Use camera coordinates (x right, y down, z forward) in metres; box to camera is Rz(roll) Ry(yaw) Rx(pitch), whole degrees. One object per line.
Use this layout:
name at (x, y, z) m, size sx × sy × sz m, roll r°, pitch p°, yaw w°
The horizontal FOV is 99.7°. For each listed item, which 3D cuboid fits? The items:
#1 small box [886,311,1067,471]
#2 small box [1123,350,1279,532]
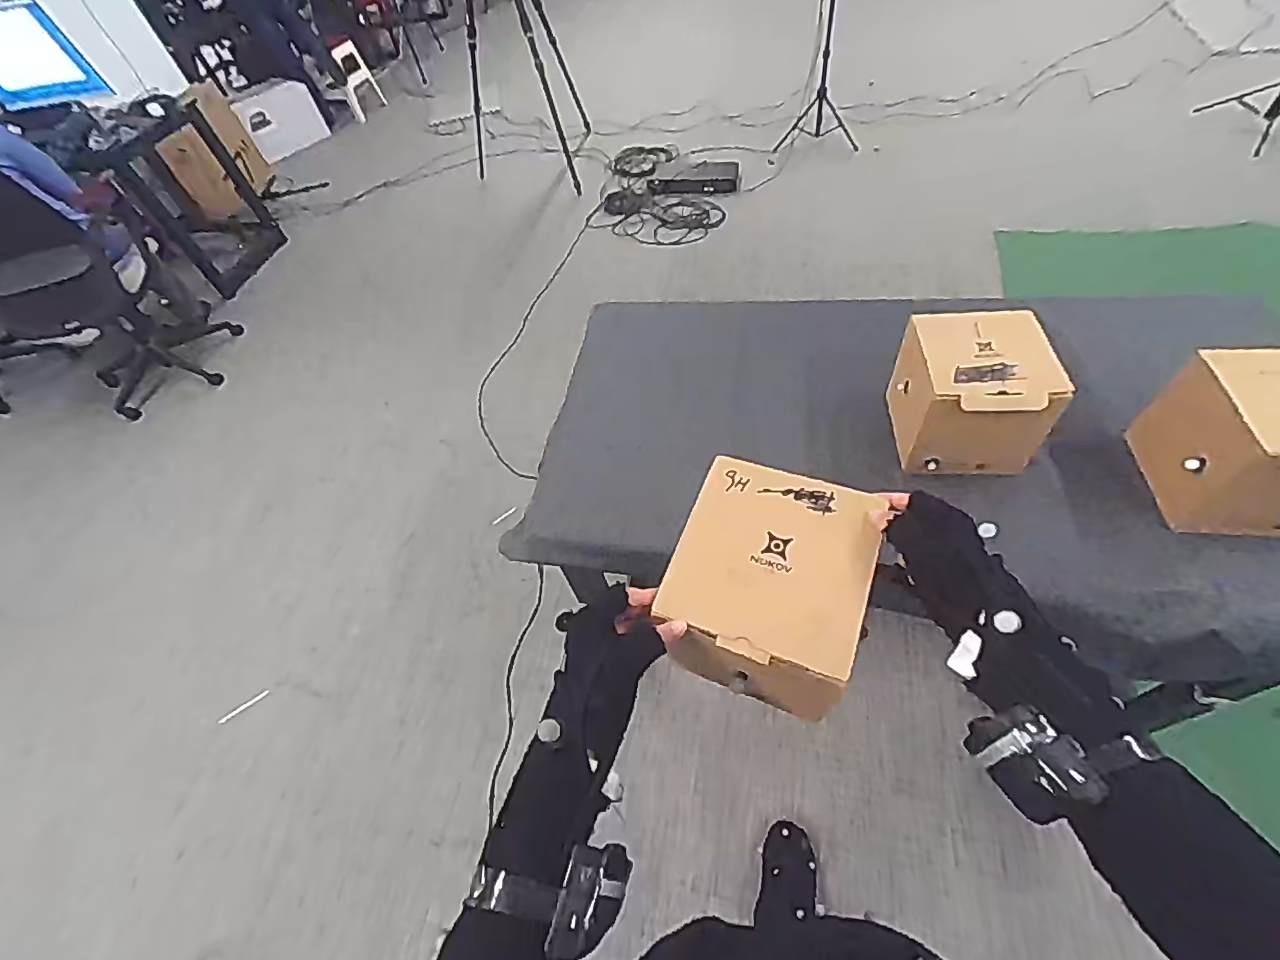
small box at (0.482, -0.127, 0.807) m, size 0.168 × 0.176 × 0.179 m, roll 0°, pitch 53°, yaw 10°
small box at (0.786, -0.047, 0.696) m, size 0.168 × 0.176 × 0.179 m, roll 2°, pitch 52°, yaw 10°
